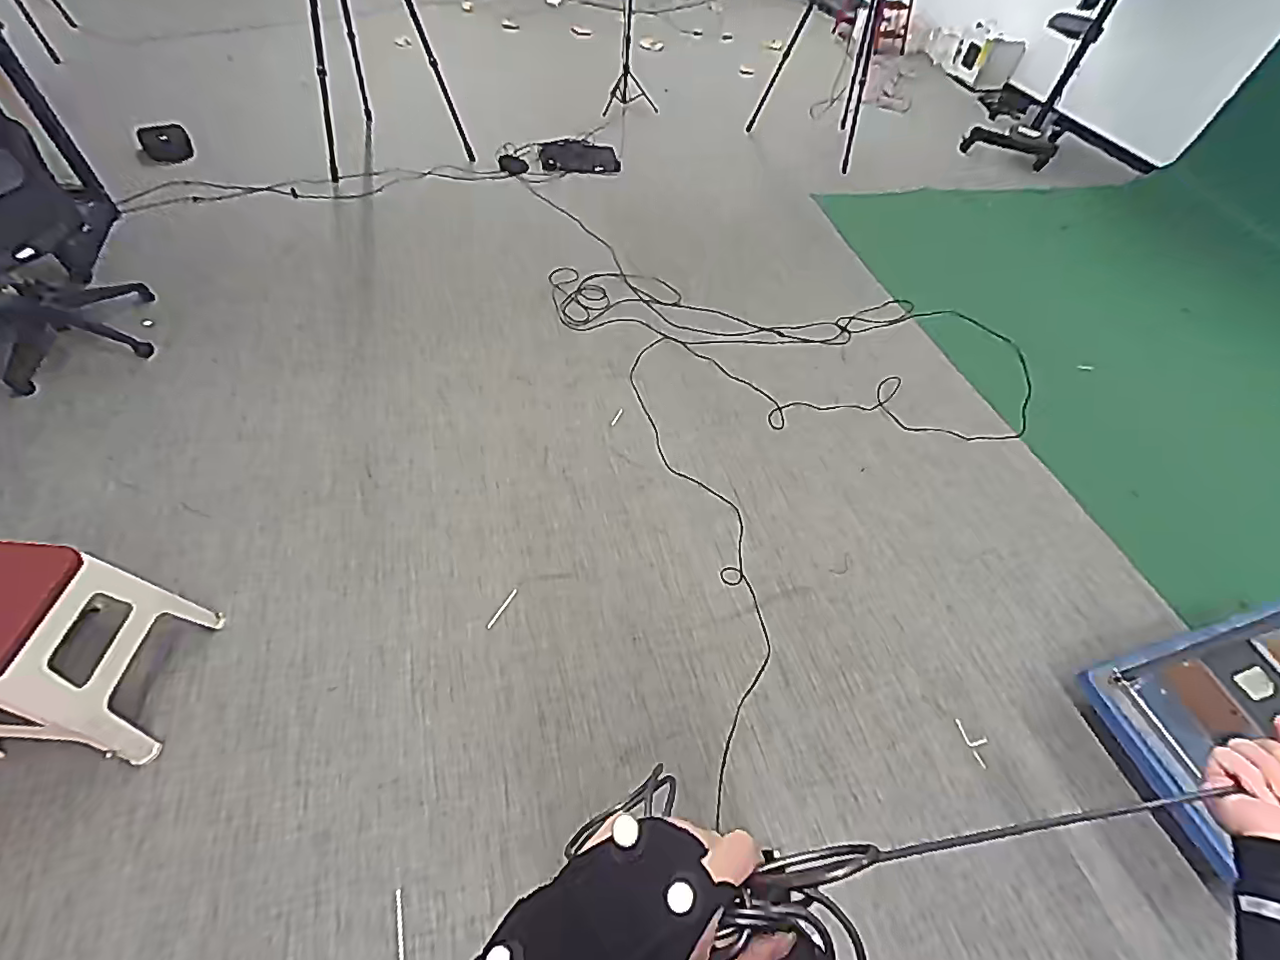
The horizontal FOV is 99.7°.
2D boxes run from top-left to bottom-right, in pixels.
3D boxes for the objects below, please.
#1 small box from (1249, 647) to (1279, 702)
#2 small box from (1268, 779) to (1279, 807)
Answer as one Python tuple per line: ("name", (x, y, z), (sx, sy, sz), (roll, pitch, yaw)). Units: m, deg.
("small box", (1.833, 0.525, 1.458), (0.179, 0.176, 0.168), (-14, 56, -16))
("small box", (1.663, 0.765, 1.258), (0.179, 0.176, 0.168), (-10, 55, -12))
